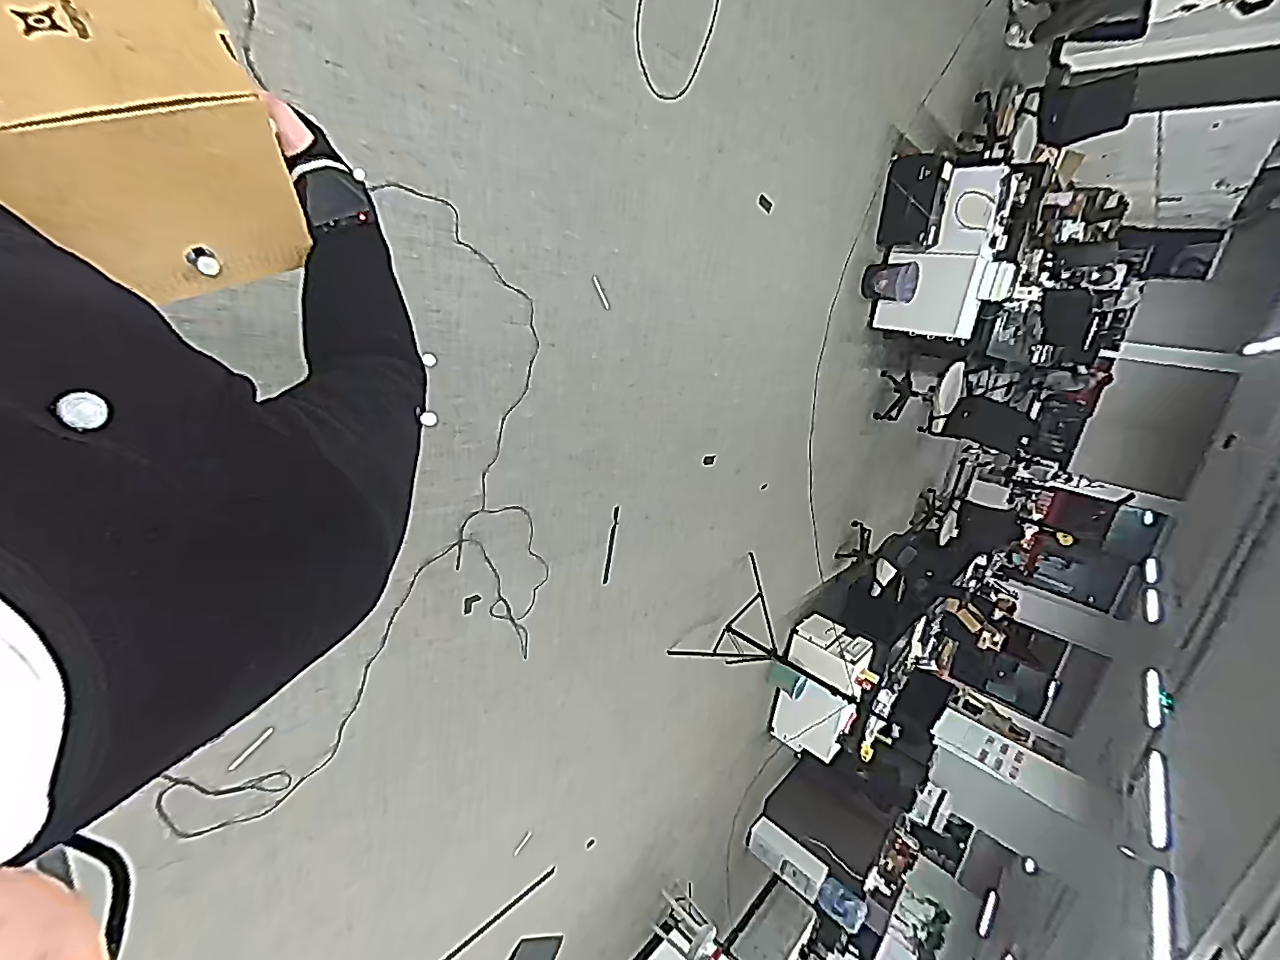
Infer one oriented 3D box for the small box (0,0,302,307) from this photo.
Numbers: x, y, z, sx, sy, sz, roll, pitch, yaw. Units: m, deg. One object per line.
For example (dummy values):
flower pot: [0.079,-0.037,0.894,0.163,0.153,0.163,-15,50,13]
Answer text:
small box: [-0.407,-0.275,0.441,0.179,0.168,0.176,-30,170,-25]
